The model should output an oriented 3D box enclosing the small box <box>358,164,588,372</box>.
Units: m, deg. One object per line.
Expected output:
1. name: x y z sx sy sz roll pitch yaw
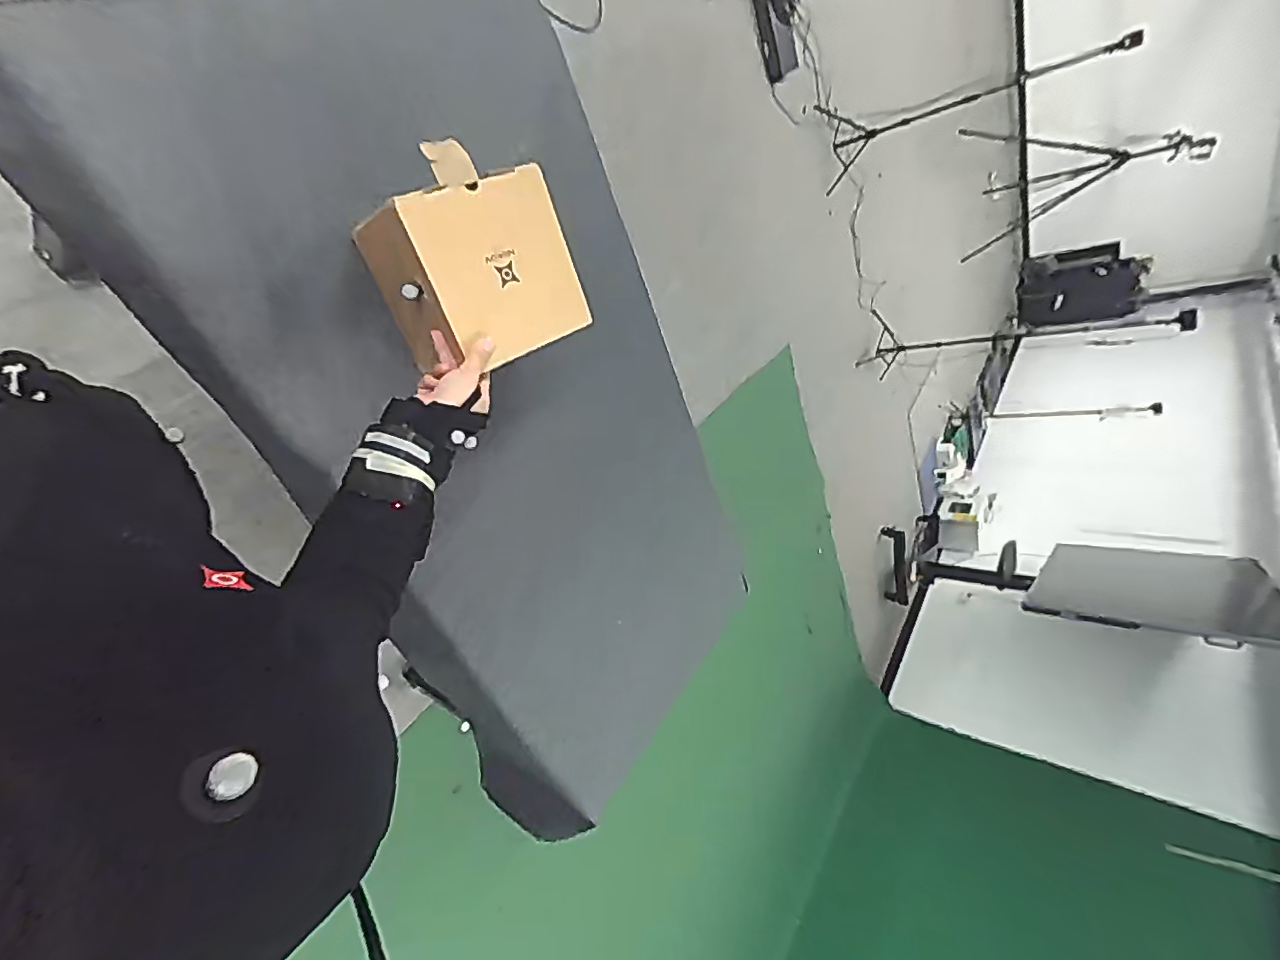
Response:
1. small box: -0.194 -0.238 0.632 0.168 0.176 0.179 -35 119 -31
